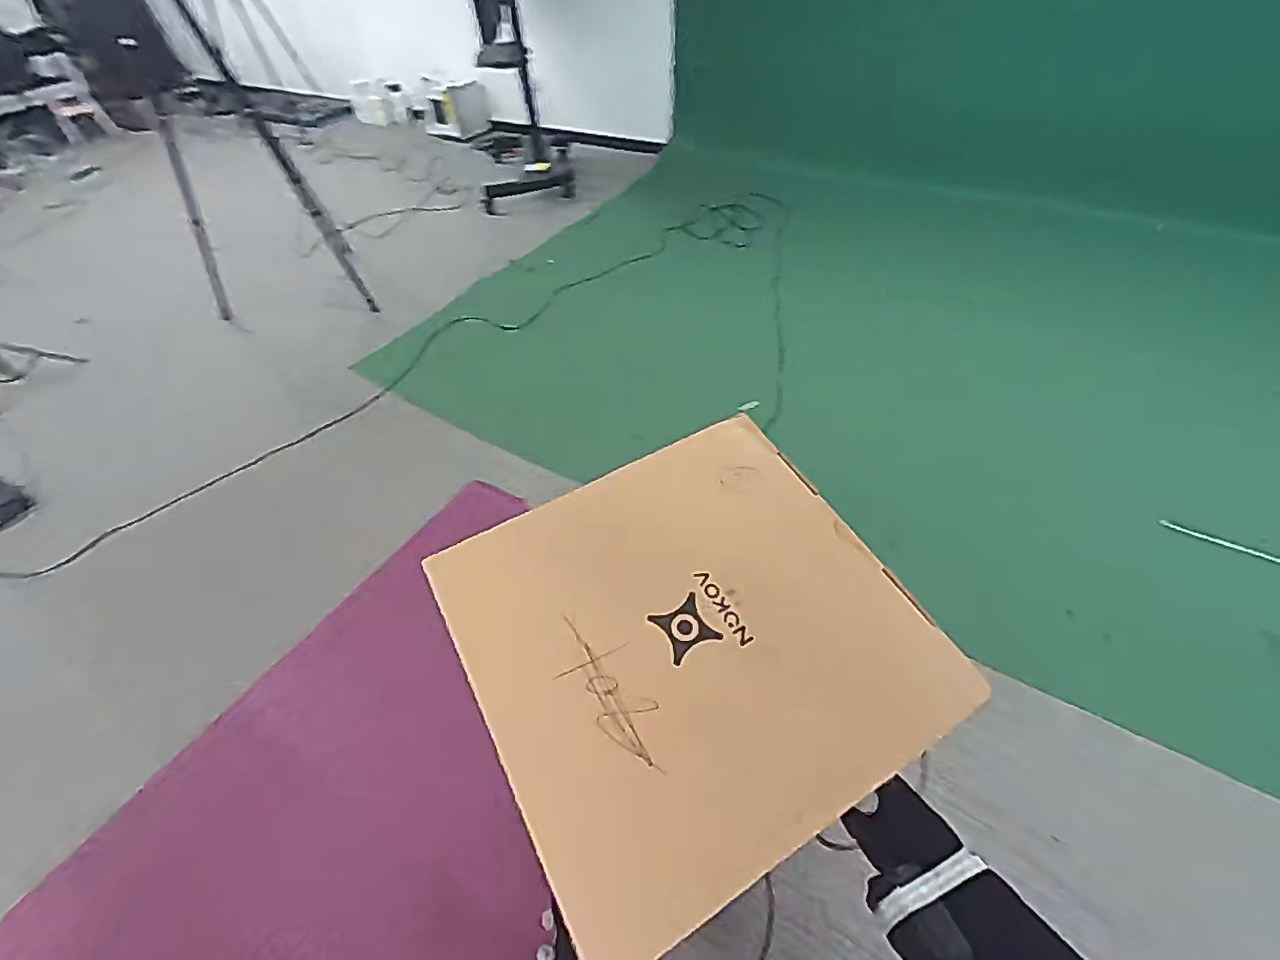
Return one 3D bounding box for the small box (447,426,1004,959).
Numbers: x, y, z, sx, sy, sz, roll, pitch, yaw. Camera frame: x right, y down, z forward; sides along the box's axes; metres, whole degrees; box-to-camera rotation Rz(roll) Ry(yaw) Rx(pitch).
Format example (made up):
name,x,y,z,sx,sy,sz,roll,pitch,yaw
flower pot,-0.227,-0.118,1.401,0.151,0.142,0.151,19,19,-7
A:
name,x,y,z,sx,sy,sz,roll,pitch,yaw
small box,0.027,0.108,0.288,0.179,0.176,0.168,-25,60,-15
